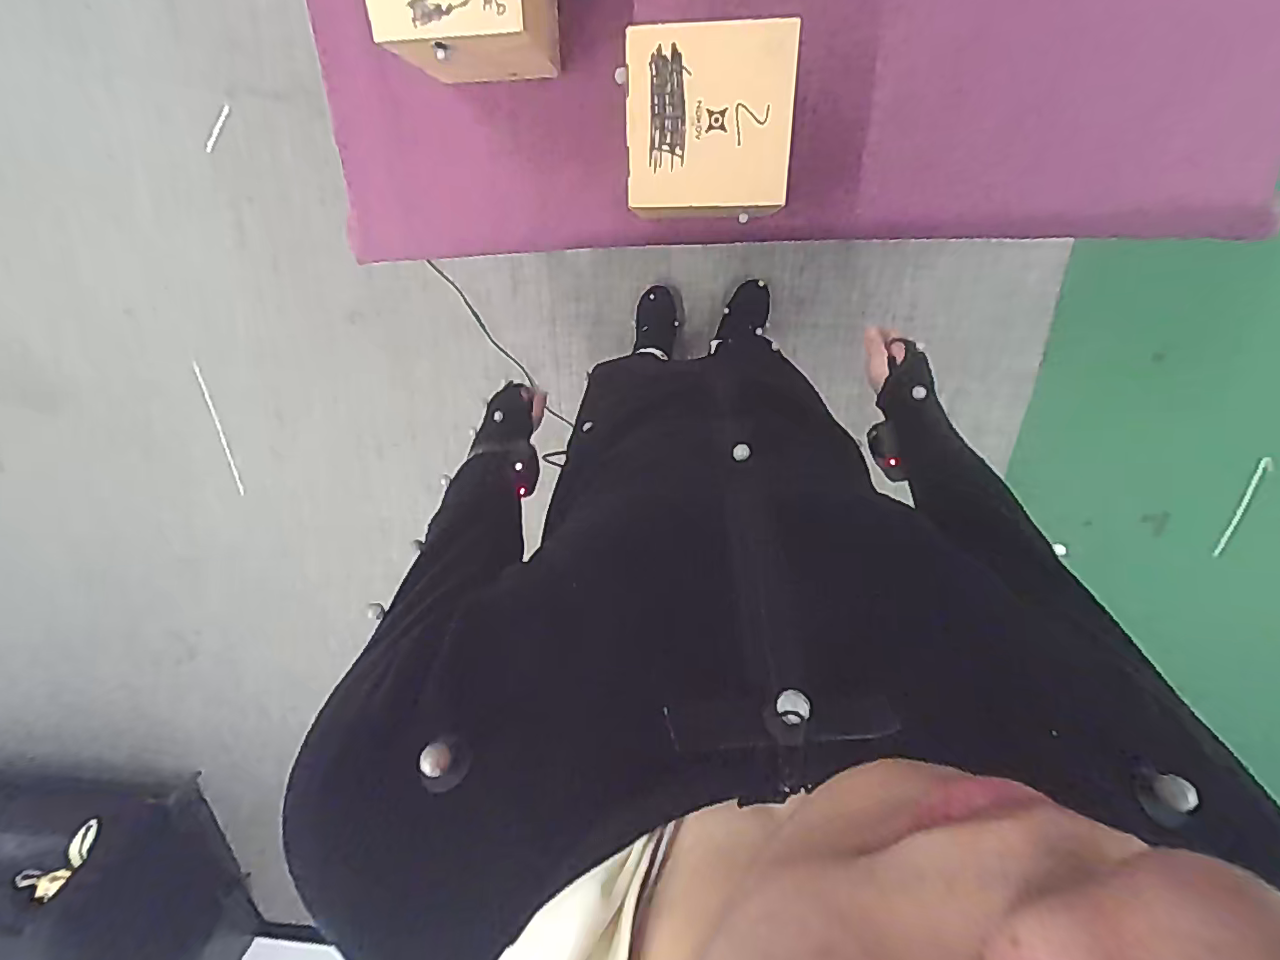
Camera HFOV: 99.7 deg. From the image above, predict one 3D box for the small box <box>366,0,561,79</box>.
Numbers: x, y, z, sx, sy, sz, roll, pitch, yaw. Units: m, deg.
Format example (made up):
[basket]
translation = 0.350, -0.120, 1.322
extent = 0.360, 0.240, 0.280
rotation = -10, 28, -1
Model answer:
[small box]
translation = -0.191, -0.575, 0.597
extent = 0.168, 0.176, 0.179
rotation = 2, 114, 7
